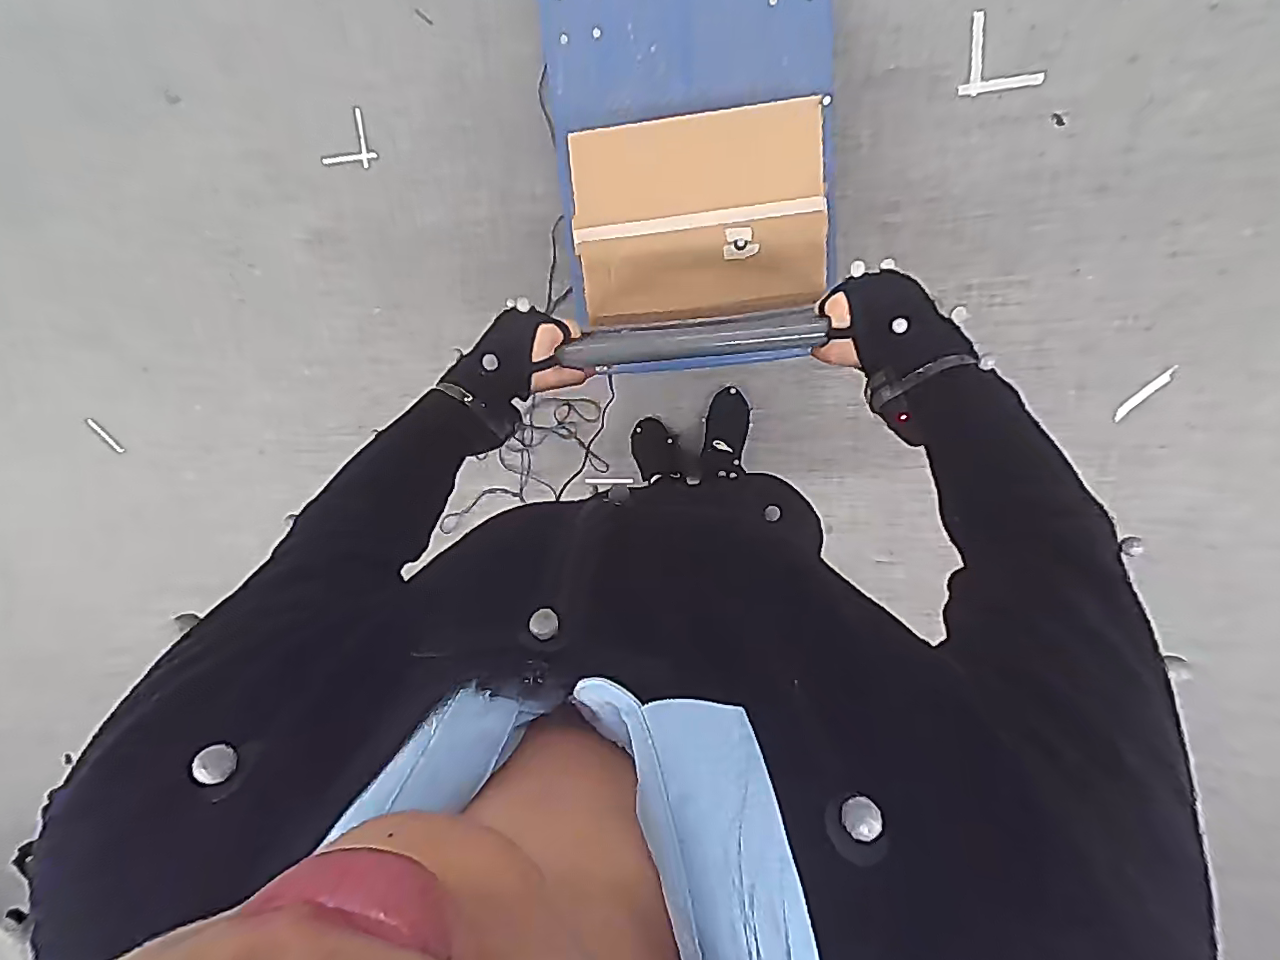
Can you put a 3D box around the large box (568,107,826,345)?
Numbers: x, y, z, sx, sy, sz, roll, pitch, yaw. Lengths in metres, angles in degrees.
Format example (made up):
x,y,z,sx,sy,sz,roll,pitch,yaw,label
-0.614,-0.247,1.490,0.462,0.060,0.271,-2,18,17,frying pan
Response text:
x,y,z,sx,sy,sz,roll,pitch,yaw,label
0.107,-0.438,1.025,0.408,0.320,0.320,-4,103,7,large box
